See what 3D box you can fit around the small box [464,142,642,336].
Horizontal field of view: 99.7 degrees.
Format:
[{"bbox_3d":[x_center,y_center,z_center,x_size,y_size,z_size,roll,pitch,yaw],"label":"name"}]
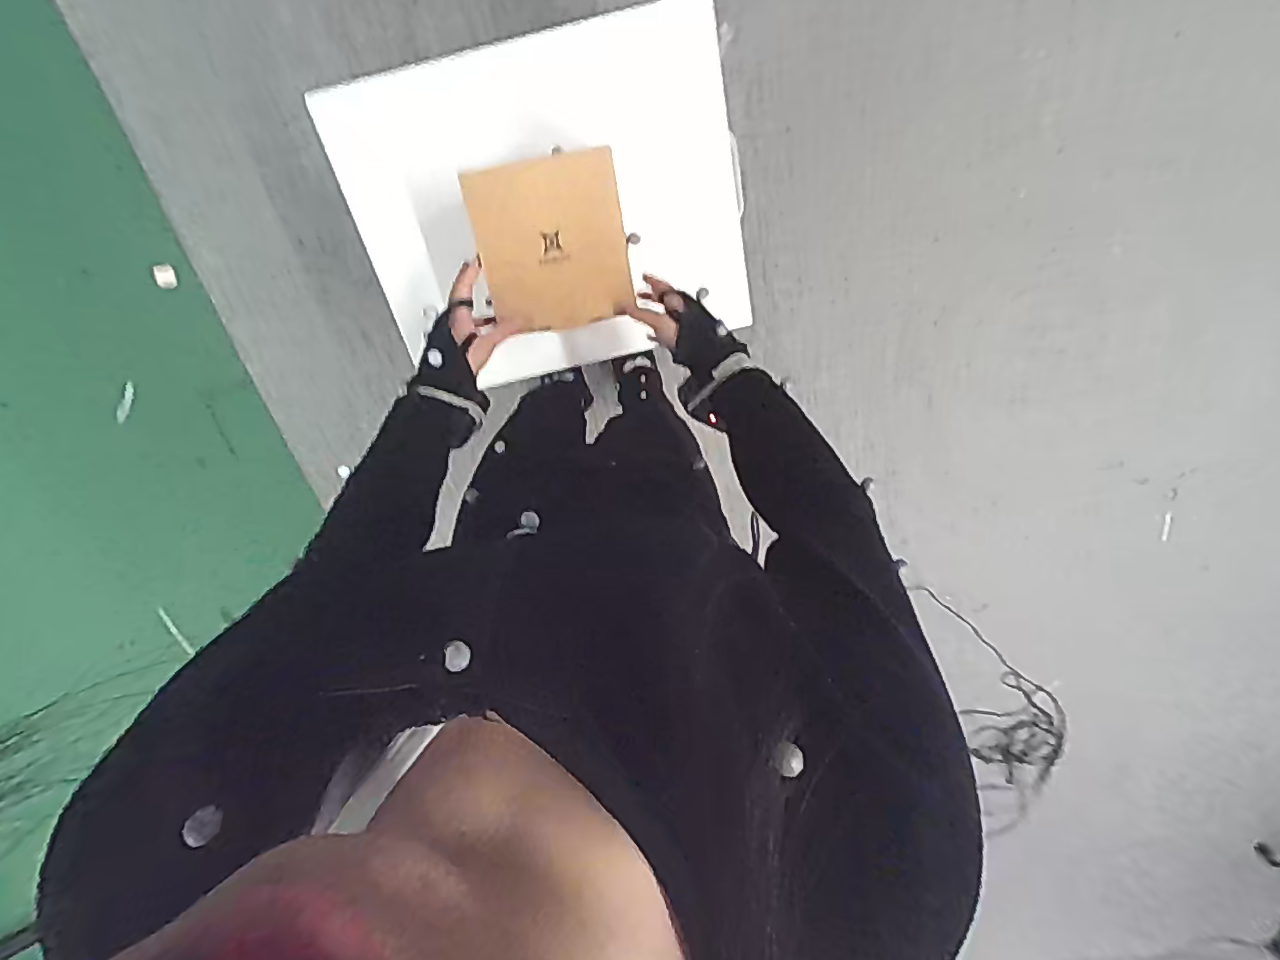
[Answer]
[{"bbox_3d":[-0.095,-0.291,0.668,0.168,0.176,0.179,-10,115,3],"label":"small box"}]
